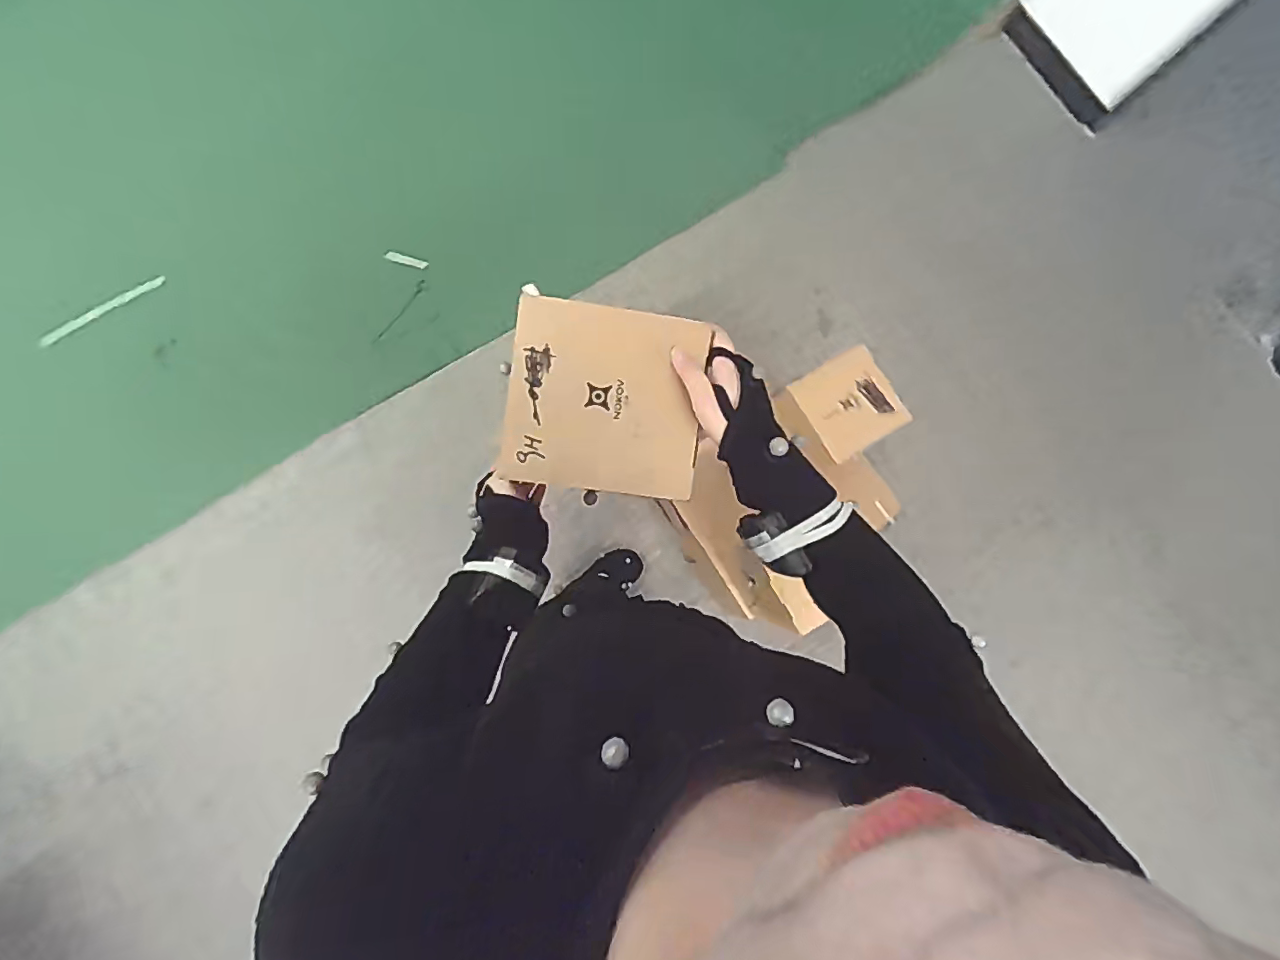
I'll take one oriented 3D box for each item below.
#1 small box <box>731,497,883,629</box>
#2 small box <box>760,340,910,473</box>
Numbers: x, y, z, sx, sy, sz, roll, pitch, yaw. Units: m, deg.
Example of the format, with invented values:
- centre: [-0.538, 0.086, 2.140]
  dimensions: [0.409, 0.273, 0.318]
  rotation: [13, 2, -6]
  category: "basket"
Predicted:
- centre: [0.292, 0.145, 0.985]
  dimensions: [0.179, 0.176, 0.168]
  rotation: [-28, 86, -8]
  category: "small box"
- centre: [0.360, -0.132, 1.031]
  dimensions: [0.179, 0.176, 0.168]
  rotation: [-30, 84, -10]
  category: "small box"
